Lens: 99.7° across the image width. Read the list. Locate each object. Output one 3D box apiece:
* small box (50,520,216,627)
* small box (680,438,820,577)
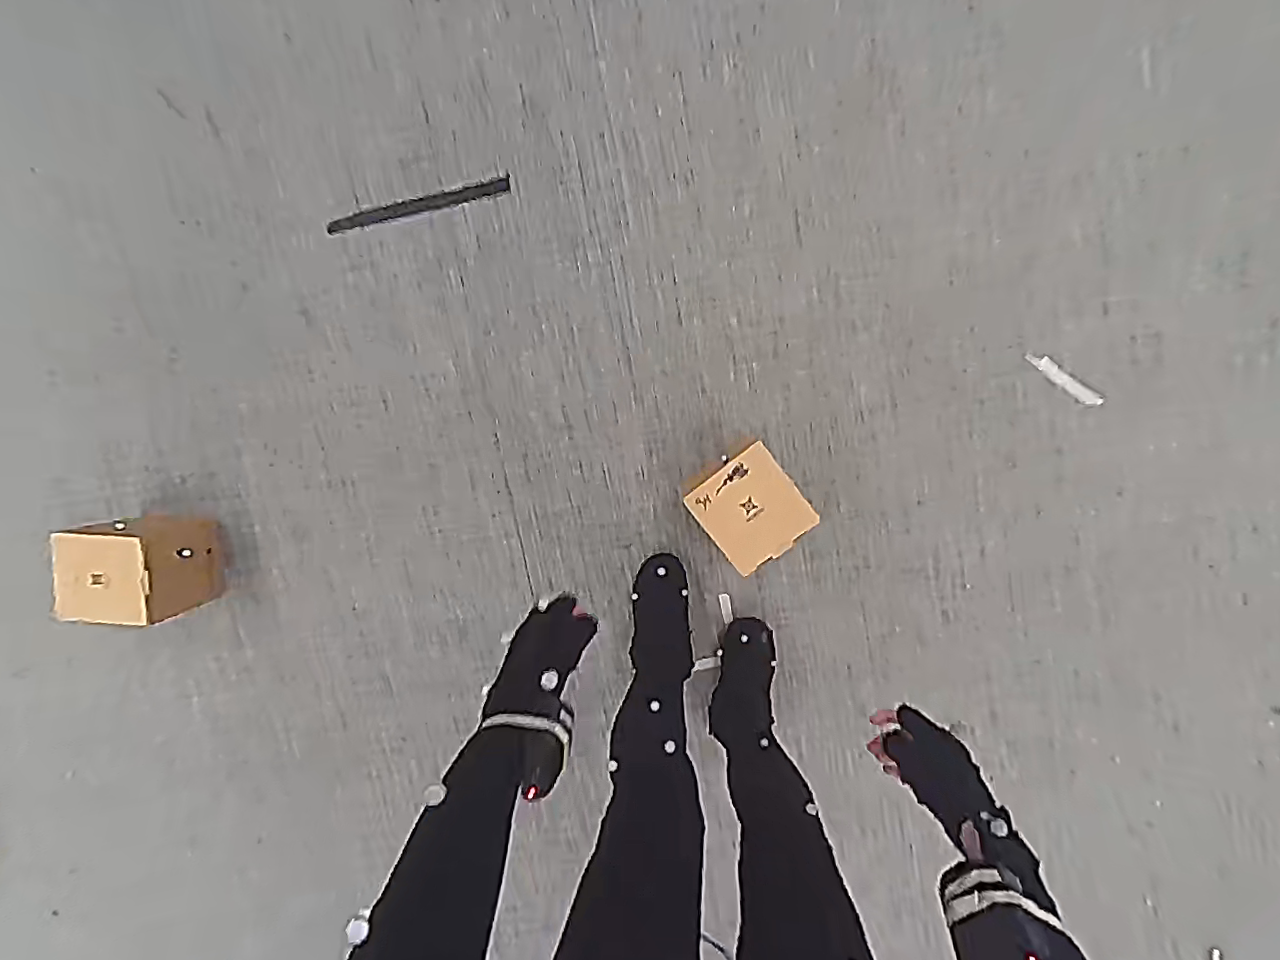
[{"bbox_3d":[-0.964,0.173,1.047,0.179,0.176,0.168,2,96,3],"label":"small box"},{"bbox_3d":[0.188,0.039,0.977,0.168,0.176,0.179,-38,95,6],"label":"small box"}]
